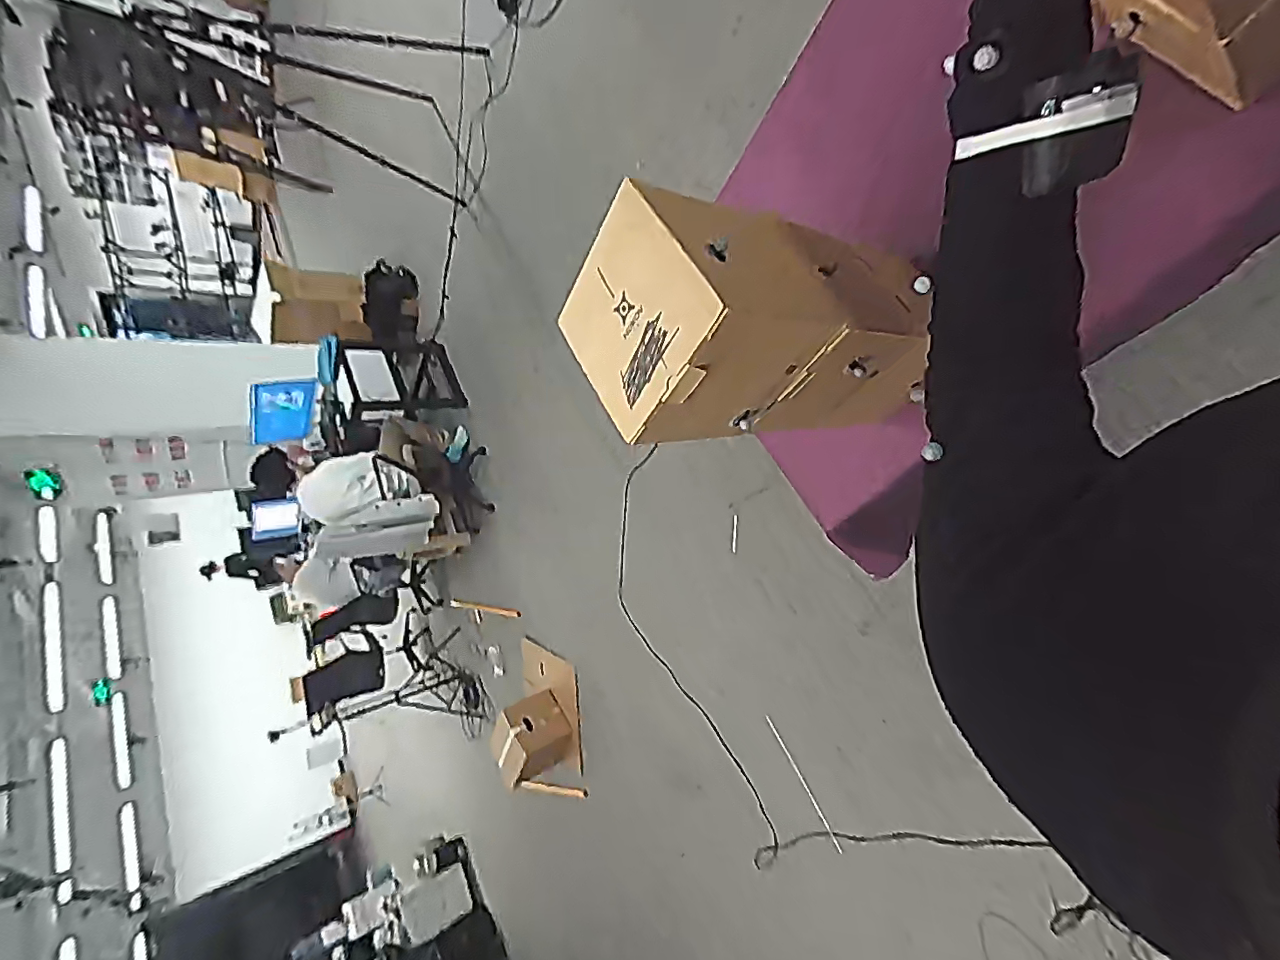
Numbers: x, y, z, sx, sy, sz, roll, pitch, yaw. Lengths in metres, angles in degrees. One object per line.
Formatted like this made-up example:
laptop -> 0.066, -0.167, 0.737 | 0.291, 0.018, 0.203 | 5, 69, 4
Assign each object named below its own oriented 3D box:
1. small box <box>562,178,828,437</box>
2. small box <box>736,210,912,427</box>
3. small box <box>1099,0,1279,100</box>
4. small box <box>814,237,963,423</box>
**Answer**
small box -> 0.052, -0.166, 0.550 | 0.168, 0.176, 0.179 | -52, 57, 41
small box -> 0.183, -0.185, 0.648 | 0.168, 0.176, 0.179 | -48, 60, 43
small box -> 0.518, -0.464, 0.448 | 0.179, 0.176, 0.168 | -49, 60, 43
small box -> 0.310, -0.199, 0.750 | 0.179, 0.176, 0.168 | -50, 59, 42
